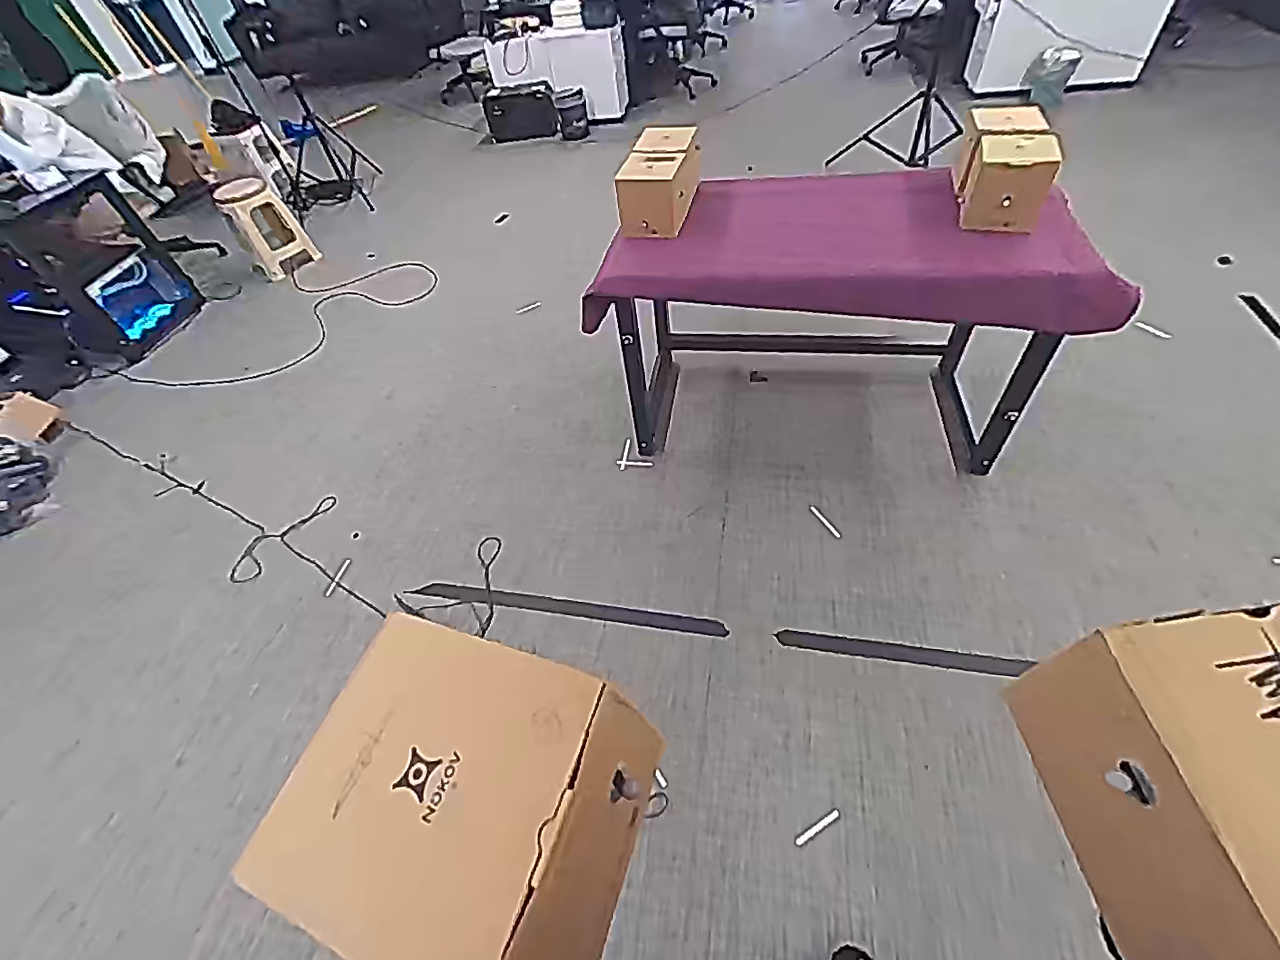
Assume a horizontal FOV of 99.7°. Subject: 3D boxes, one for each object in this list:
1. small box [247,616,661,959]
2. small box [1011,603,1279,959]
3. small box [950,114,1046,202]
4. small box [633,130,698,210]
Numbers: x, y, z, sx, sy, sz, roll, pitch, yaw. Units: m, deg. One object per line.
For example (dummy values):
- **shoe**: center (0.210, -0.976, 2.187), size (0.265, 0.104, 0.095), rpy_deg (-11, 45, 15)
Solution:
- **small box**: center (-0.099, 0.219, 0.374), size (0.179, 0.176, 0.168), rpy_deg (8, 57, 23)
- **small box**: center (0.367, 0.186, 0.323), size (0.168, 0.176, 0.179), rpy_deg (-12, 56, 7)
- **small box**: center (0.982, -0.894, 1.500), size (0.168, 0.176, 0.179), rpy_deg (8, 51, 14)
- **small box**: center (0.085, -0.966, 1.686), size (0.168, 0.176, 0.179), rpy_deg (8, 52, 14)
